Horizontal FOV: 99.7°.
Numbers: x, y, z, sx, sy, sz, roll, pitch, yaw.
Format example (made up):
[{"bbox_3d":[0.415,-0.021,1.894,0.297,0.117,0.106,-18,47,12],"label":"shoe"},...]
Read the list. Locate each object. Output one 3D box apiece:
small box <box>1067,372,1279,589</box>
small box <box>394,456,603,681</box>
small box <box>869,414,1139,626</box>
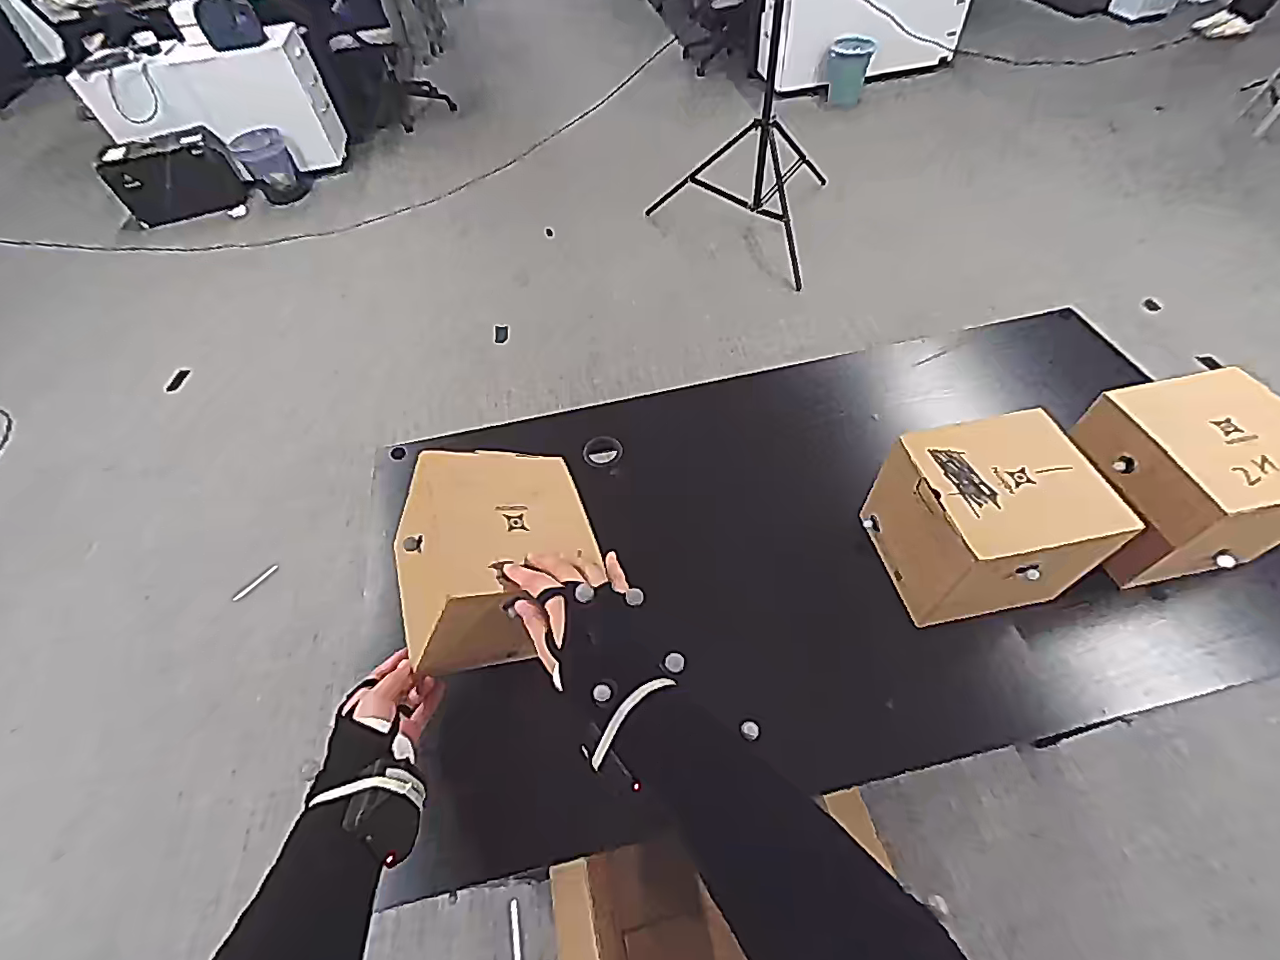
[{"bbox_3d":[0.628,0.004,0.636,0.168,0.176,0.179,-11,53,-2],"label":"small box"},{"bbox_3d":[-0.169,0.095,0.605,0.168,0.176,0.179,2,47,-34],"label":"small box"},{"bbox_3d":[0.388,0.052,0.624,0.179,0.176,0.168,-10,53,-3],"label":"small box"}]
